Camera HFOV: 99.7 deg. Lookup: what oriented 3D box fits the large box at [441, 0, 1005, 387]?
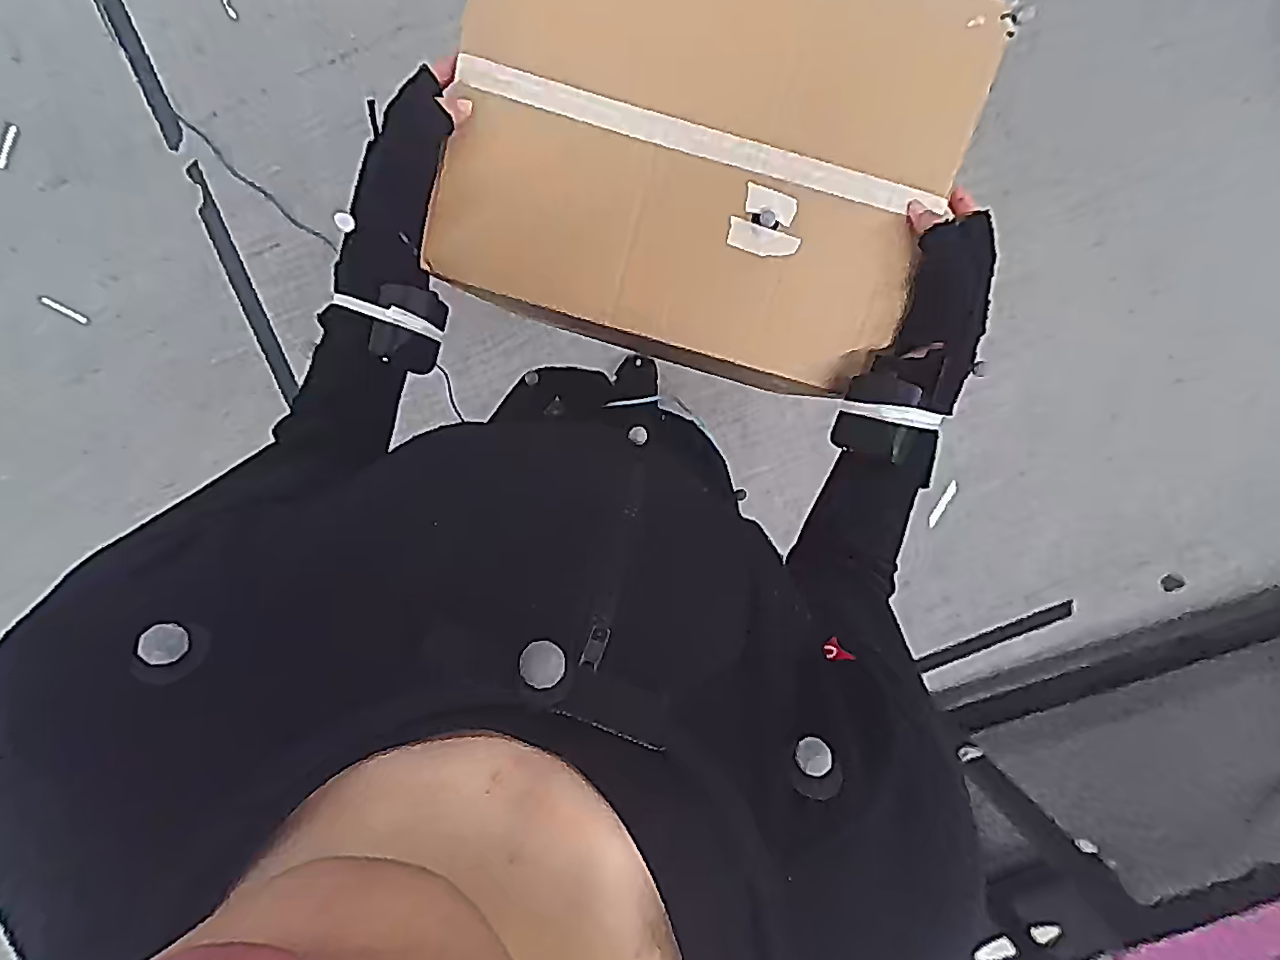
[{"bbox_3d":[0.058,-0.303,0.590,0.408,0.320,0.320,16,101,-2],"label":"large box"}]
